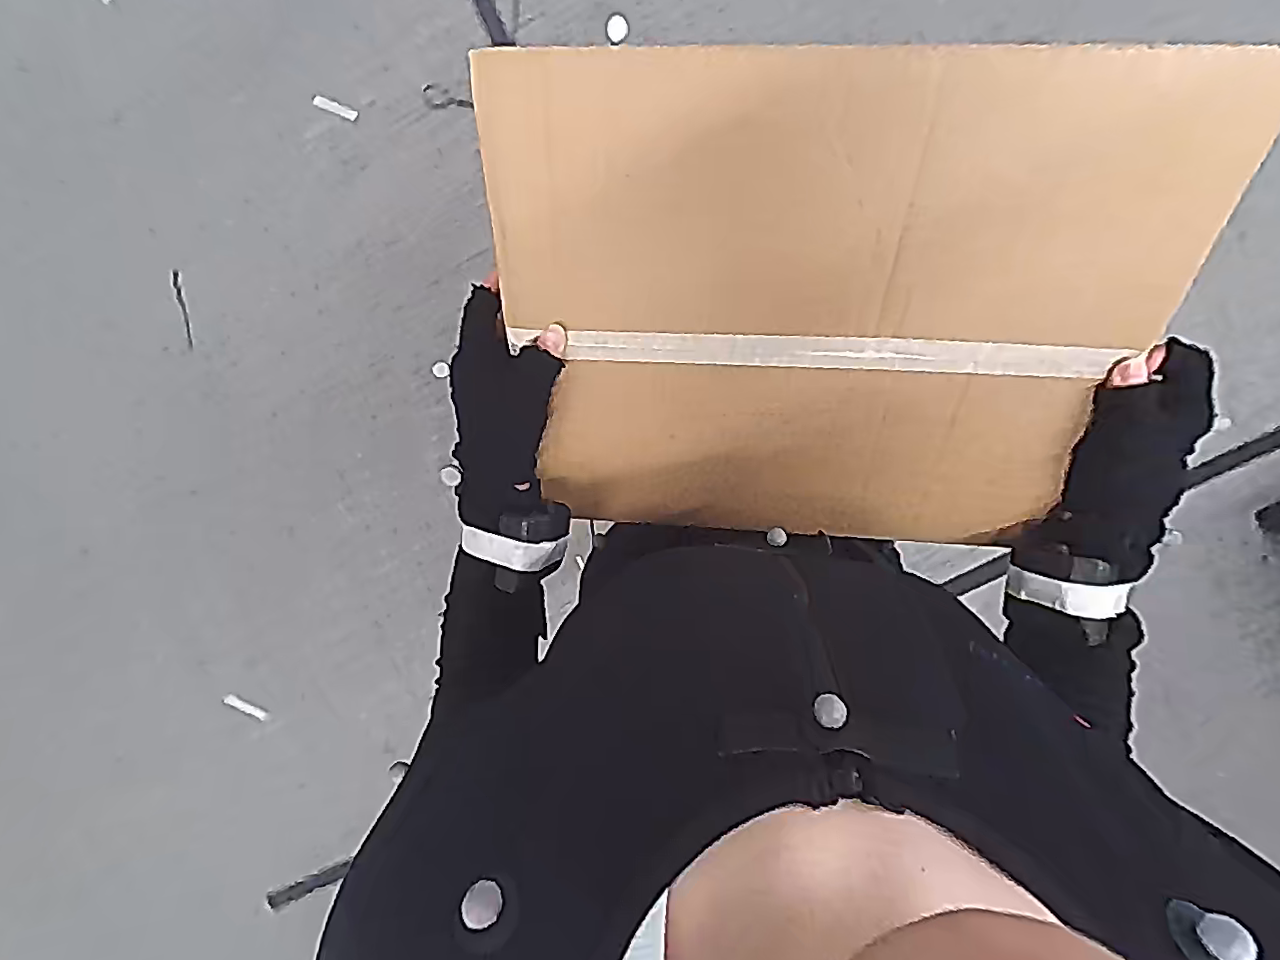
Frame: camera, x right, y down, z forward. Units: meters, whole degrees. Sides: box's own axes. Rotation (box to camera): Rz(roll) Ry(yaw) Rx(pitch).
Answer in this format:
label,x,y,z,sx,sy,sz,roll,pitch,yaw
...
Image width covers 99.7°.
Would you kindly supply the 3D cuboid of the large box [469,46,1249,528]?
label,x,y,z,sx,sy,sz,roll,pitch,yaw
large box,0.116,-0.177,0.487,0.408,0.320,0.320,2,127,5
